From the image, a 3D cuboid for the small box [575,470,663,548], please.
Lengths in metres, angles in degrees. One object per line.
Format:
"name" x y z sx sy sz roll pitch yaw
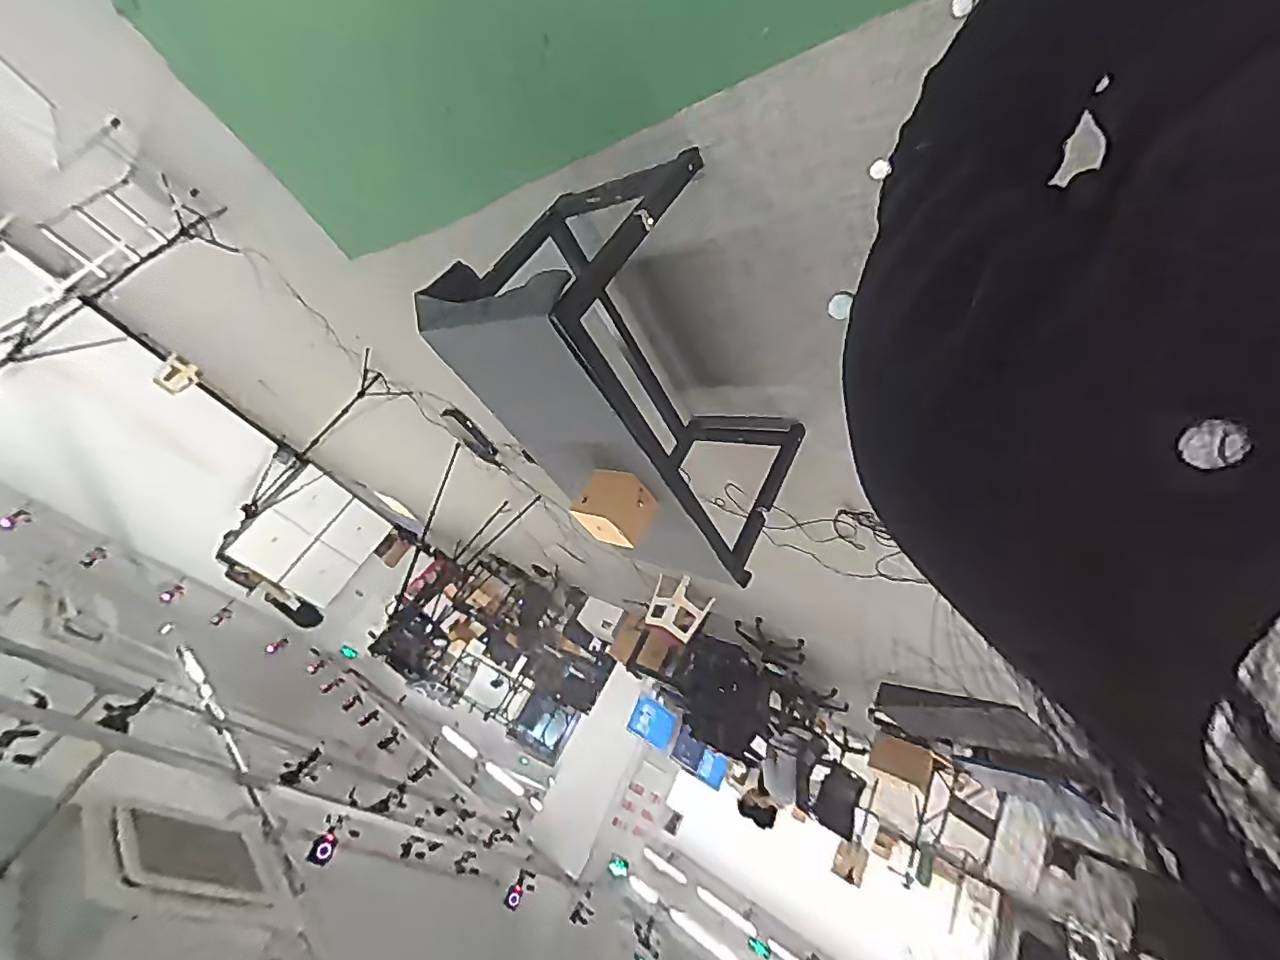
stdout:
"small box" -0.062 0.086 1.677 0.179 0.176 0.168 7 147 43
